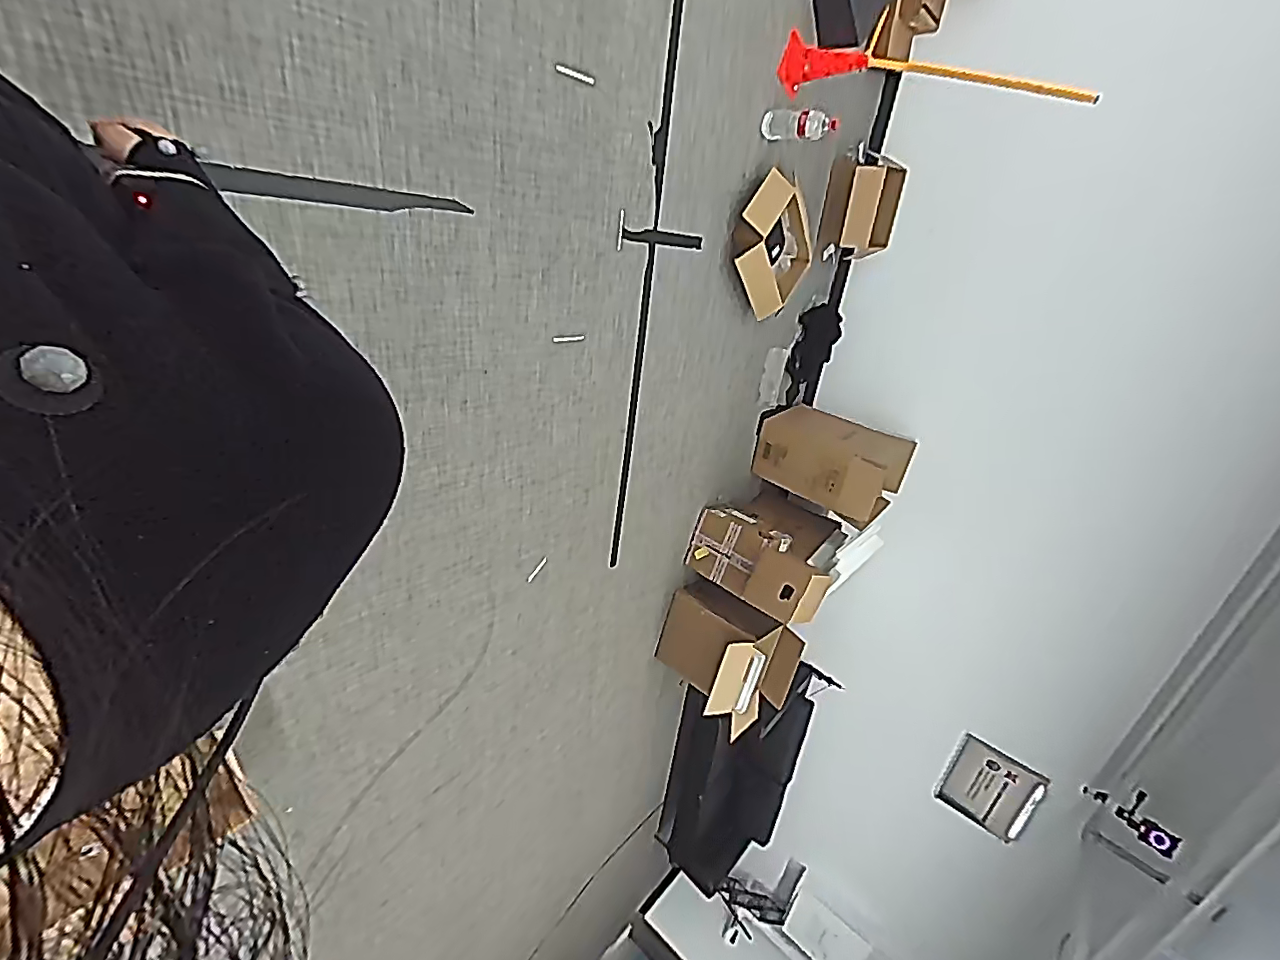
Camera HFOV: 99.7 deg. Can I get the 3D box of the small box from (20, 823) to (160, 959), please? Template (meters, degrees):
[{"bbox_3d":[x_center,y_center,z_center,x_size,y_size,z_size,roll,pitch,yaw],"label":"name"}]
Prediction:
[{"bbox_3d":[-1.205,0.910,1.189,0.168,0.176,0.179,-26,132,-44],"label":"small box"}]
